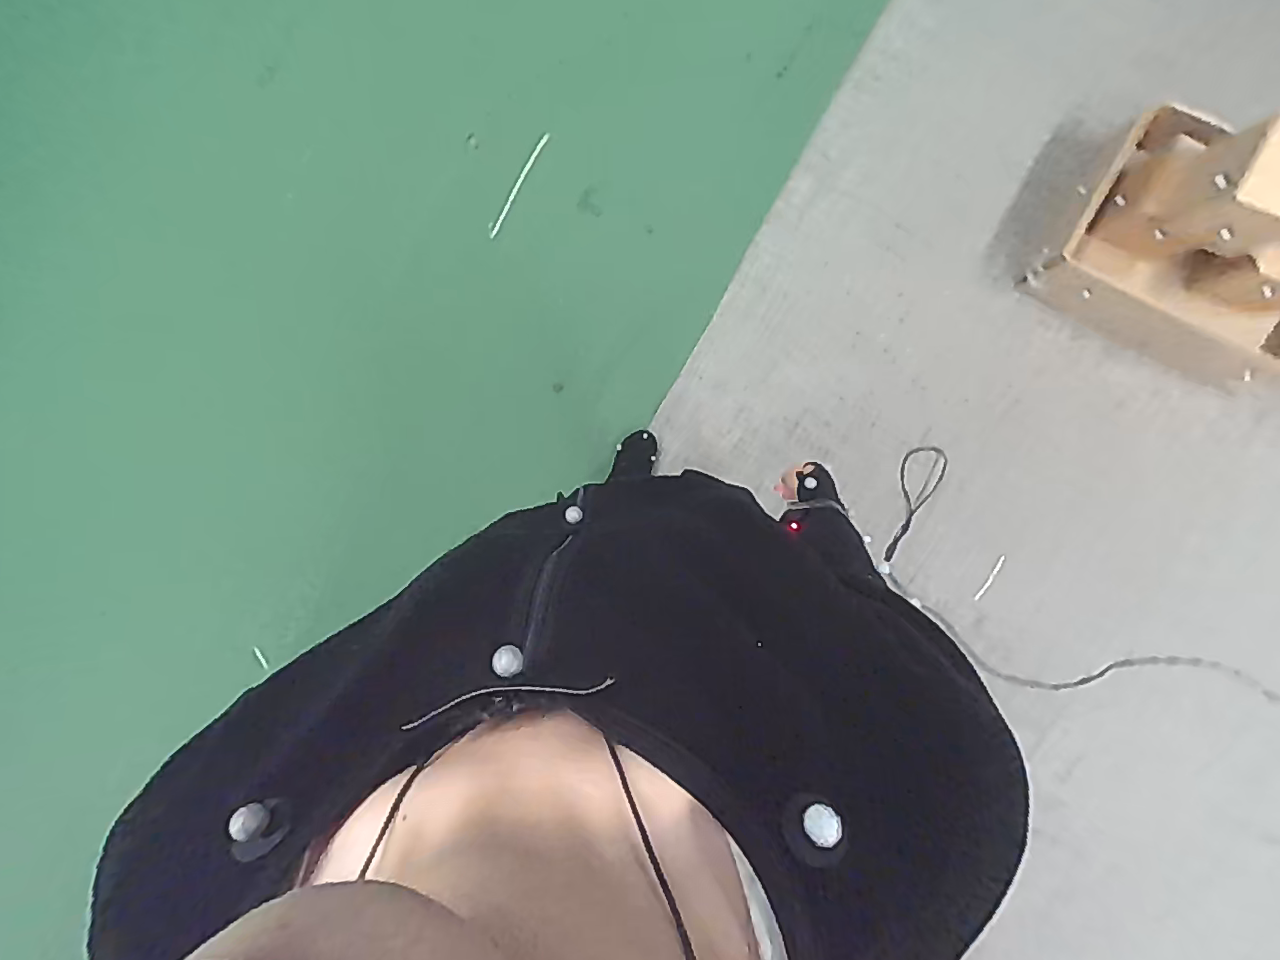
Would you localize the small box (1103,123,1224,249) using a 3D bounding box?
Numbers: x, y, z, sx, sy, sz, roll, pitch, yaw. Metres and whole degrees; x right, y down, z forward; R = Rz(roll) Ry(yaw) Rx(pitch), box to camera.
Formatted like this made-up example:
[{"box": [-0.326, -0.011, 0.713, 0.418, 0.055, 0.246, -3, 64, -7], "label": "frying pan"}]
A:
[{"box": [1.207, -0.644, 1.210, 0.179, 0.176, 0.168, 24, 98, 3], "label": "small box"}]

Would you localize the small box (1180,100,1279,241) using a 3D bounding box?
[{"box": [1.223, -0.594, 1.047, 0.168, 0.176, 0.179, 23, 97, 3], "label": "small box"}]

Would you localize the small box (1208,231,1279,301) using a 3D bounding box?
[{"box": [1.436, -0.514, 1.189, 0.179, 0.176, 0.168, 21, 96, 6], "label": "small box"}]
